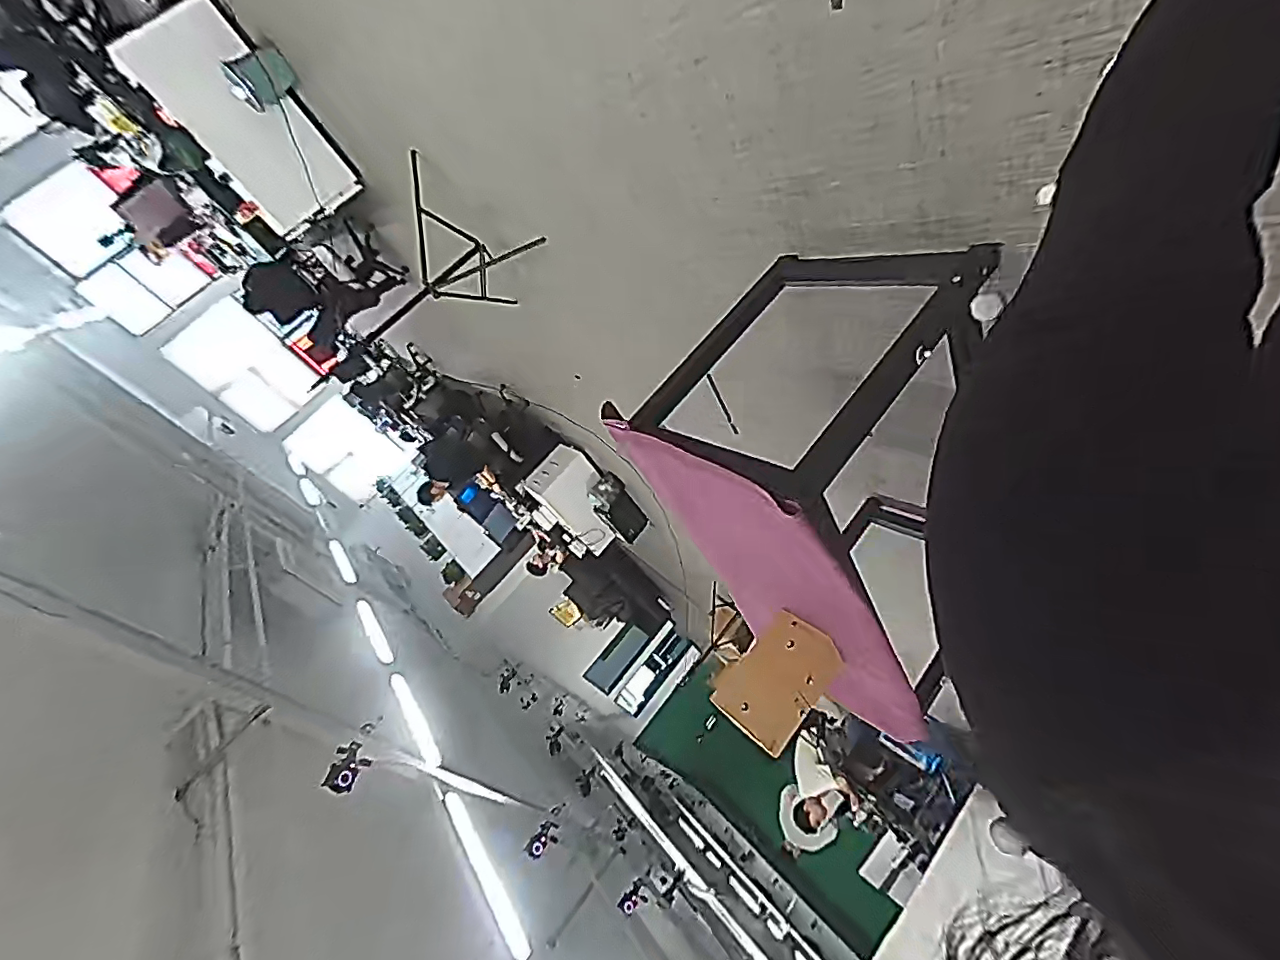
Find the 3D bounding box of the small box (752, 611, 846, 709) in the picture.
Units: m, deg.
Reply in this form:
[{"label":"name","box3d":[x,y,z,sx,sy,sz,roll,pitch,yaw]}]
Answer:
[{"label":"small box","box3d":[0.455,0.506,1.538,0.168,0.176,0.179,27,160,48]}]

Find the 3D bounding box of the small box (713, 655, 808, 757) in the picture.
[{"label":"small box","box3d":[0.344,0.622,1.505,0.179,0.176,0.168,26,159,50]}]
